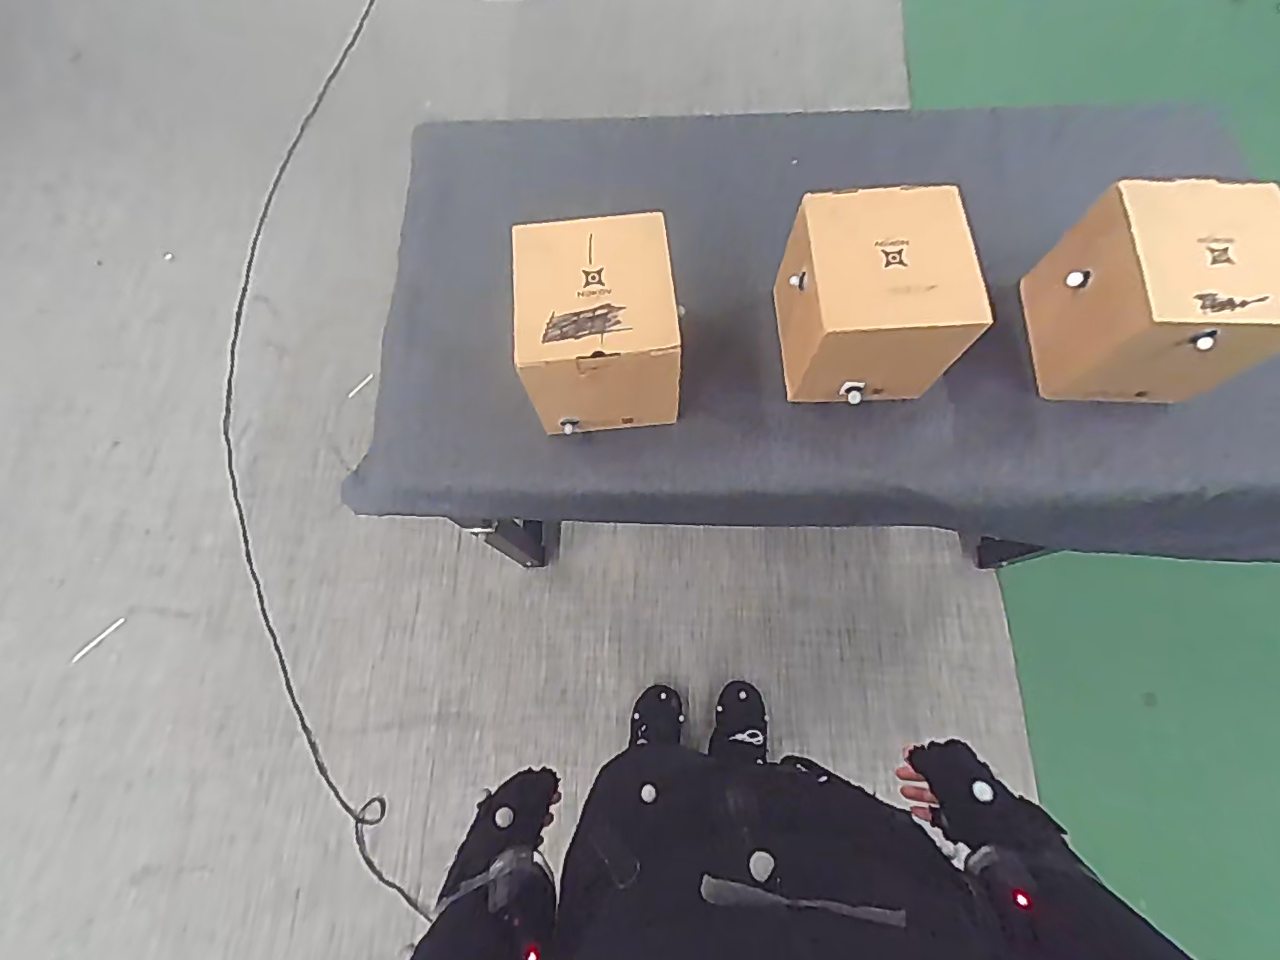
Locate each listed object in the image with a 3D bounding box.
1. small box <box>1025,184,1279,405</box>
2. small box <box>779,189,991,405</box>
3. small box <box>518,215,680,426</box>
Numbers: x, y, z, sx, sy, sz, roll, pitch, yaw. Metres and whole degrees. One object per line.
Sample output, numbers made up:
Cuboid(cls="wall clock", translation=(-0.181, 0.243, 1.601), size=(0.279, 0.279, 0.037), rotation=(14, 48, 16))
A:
Cuboid(cls="small box", translation=(0.582, -0.205, 0.620), size=(0.168, 0.176, 0.179), rotation=(2, 71, 4))
Cuboid(cls="small box", translation=(0.267, -0.205, 0.637), size=(0.168, 0.176, 0.179), rotation=(-3, 73, 3))
Cuboid(cls="small box", translation=(-0.042, -0.173, 0.635), size=(0.168, 0.176, 0.179), rotation=(-5, 70, 0))
